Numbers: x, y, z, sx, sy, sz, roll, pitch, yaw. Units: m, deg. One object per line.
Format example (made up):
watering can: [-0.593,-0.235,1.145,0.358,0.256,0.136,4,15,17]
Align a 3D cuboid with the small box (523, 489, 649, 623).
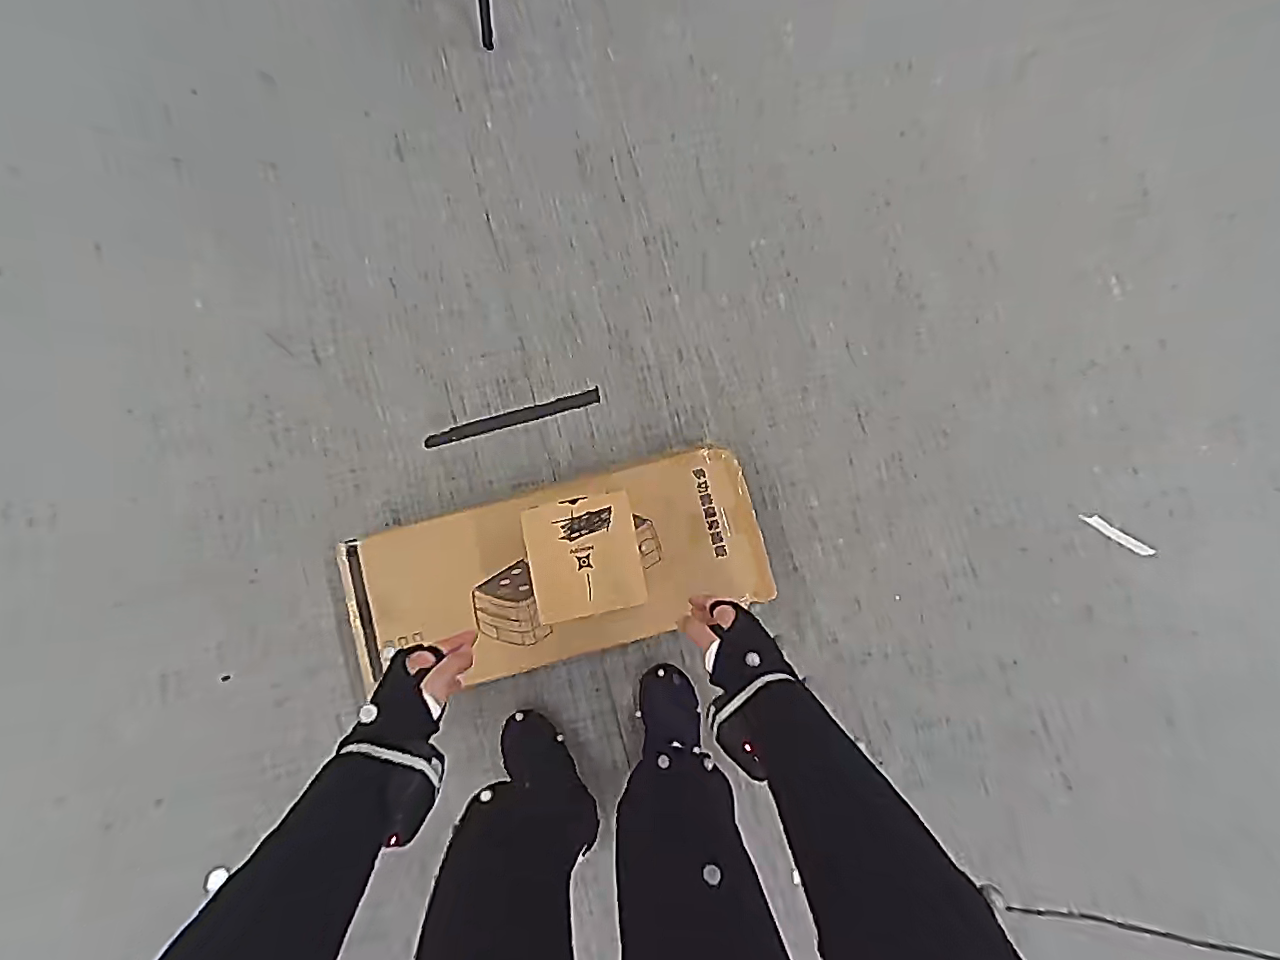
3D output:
small box: [-0.085,0.121,0.886,0.168,0.176,0.179,-11,85,-3]
